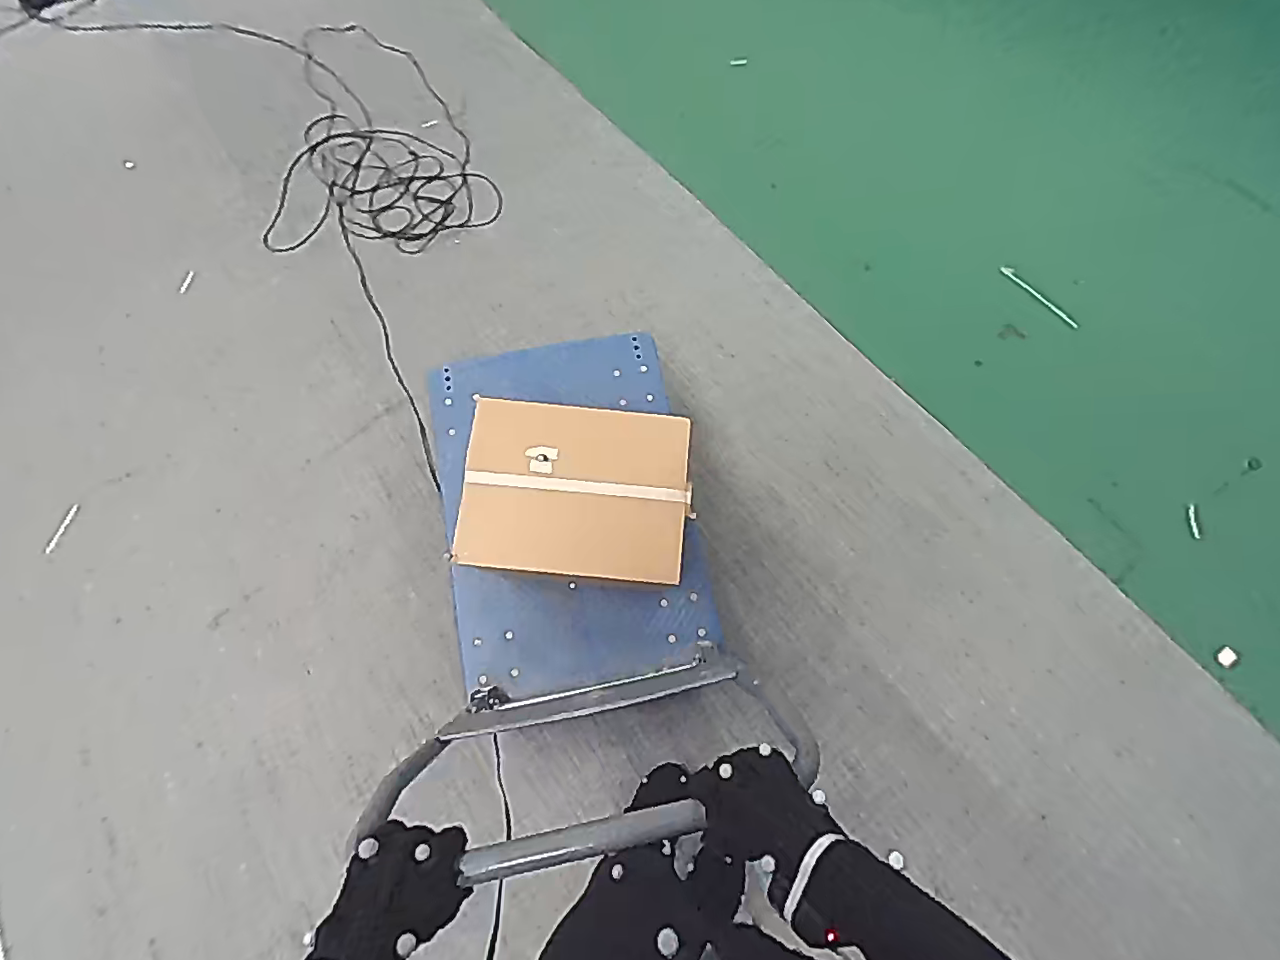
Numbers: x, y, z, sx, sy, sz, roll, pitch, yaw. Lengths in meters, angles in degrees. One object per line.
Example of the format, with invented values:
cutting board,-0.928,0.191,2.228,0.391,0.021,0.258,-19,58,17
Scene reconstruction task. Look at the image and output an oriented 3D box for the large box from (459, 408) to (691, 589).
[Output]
large box,-0.110,0.058,1.125,0.408,0.320,0.320,5,76,1
